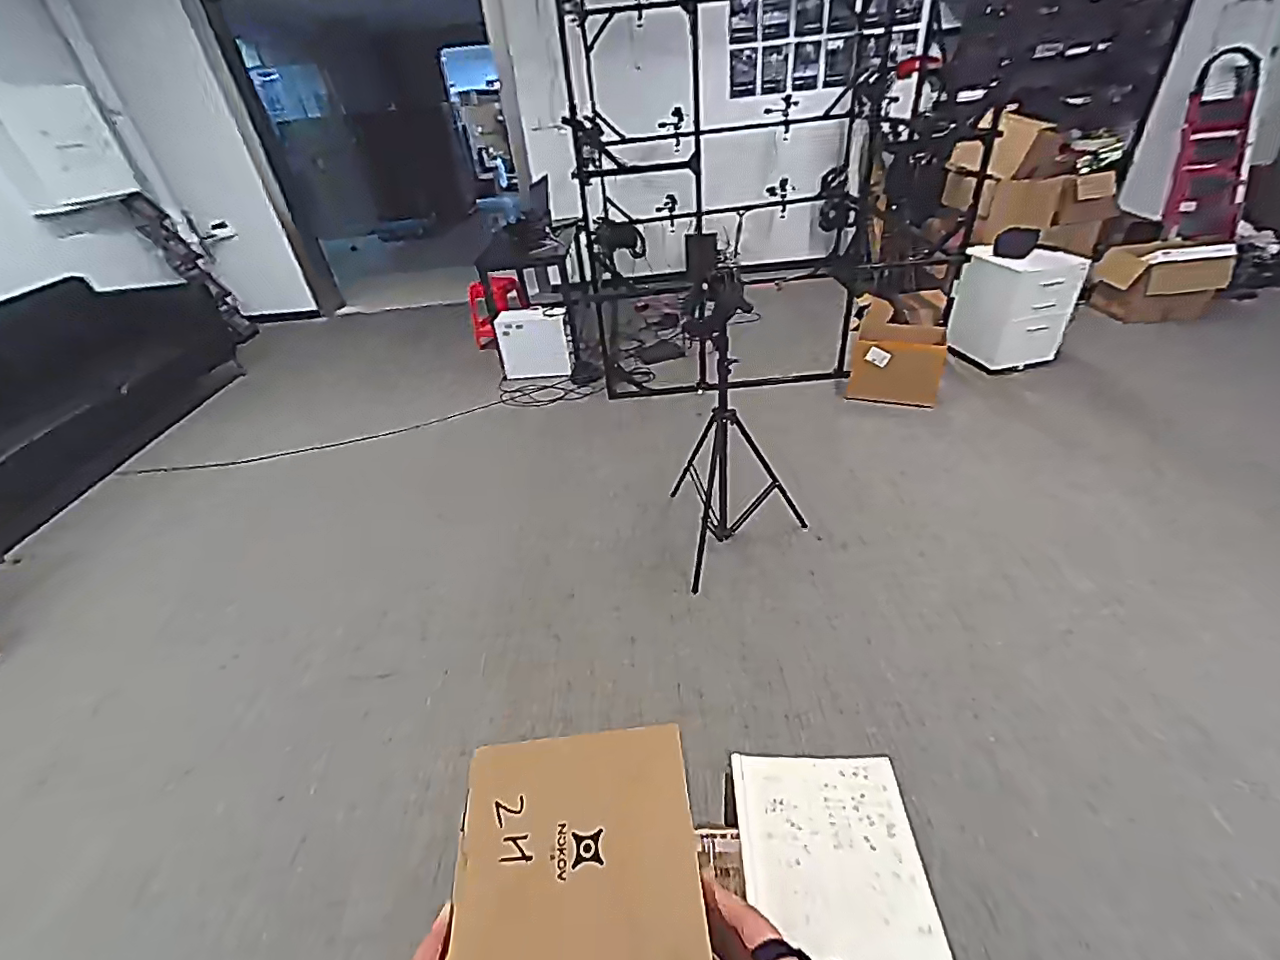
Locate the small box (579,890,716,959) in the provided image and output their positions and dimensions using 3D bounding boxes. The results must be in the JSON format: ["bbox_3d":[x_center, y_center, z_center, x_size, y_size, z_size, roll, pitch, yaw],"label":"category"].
[{"bbox_3d":[0.014,0.689,0.732,0.179,0.176,0.168,-2,37,9],"label":"small box"}]

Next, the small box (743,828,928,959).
[{"bbox_3d":[0.218,0.539,0.632,0.168,0.176,0.179,-3,36,2],"label":"small box"}]

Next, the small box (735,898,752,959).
[{"bbox_3d":[0.230,0.675,0.722,0.179,0.176,0.168,-4,36,0],"label":"small box"}]
